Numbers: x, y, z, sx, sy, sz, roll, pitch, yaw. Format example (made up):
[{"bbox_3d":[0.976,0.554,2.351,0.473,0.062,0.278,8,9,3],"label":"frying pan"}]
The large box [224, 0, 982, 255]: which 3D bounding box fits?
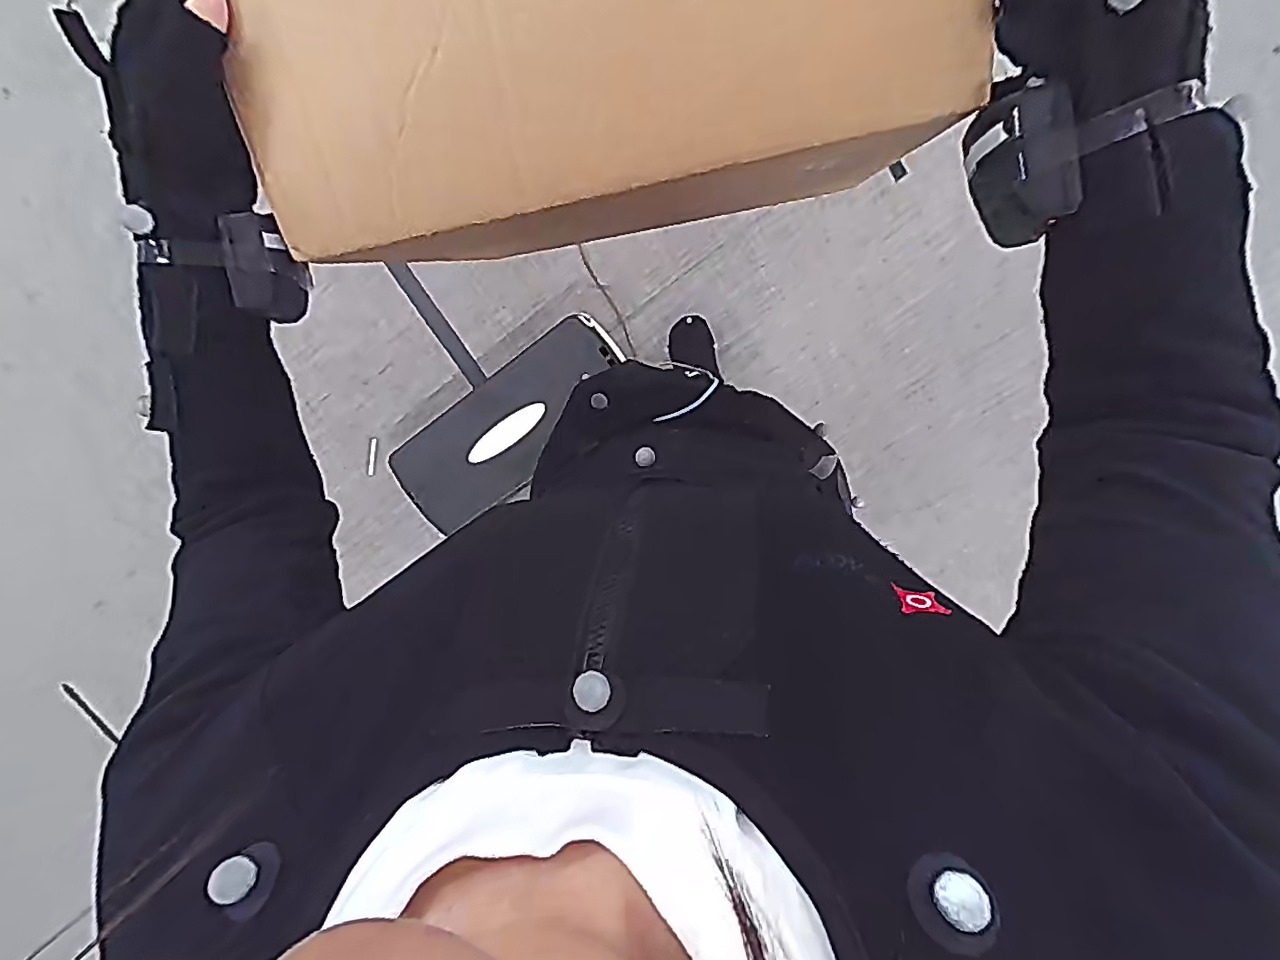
[{"bbox_3d":[-0.028,-0.372,0.401,0.408,0.320,0.320,-7,111,12],"label":"large box"}]
